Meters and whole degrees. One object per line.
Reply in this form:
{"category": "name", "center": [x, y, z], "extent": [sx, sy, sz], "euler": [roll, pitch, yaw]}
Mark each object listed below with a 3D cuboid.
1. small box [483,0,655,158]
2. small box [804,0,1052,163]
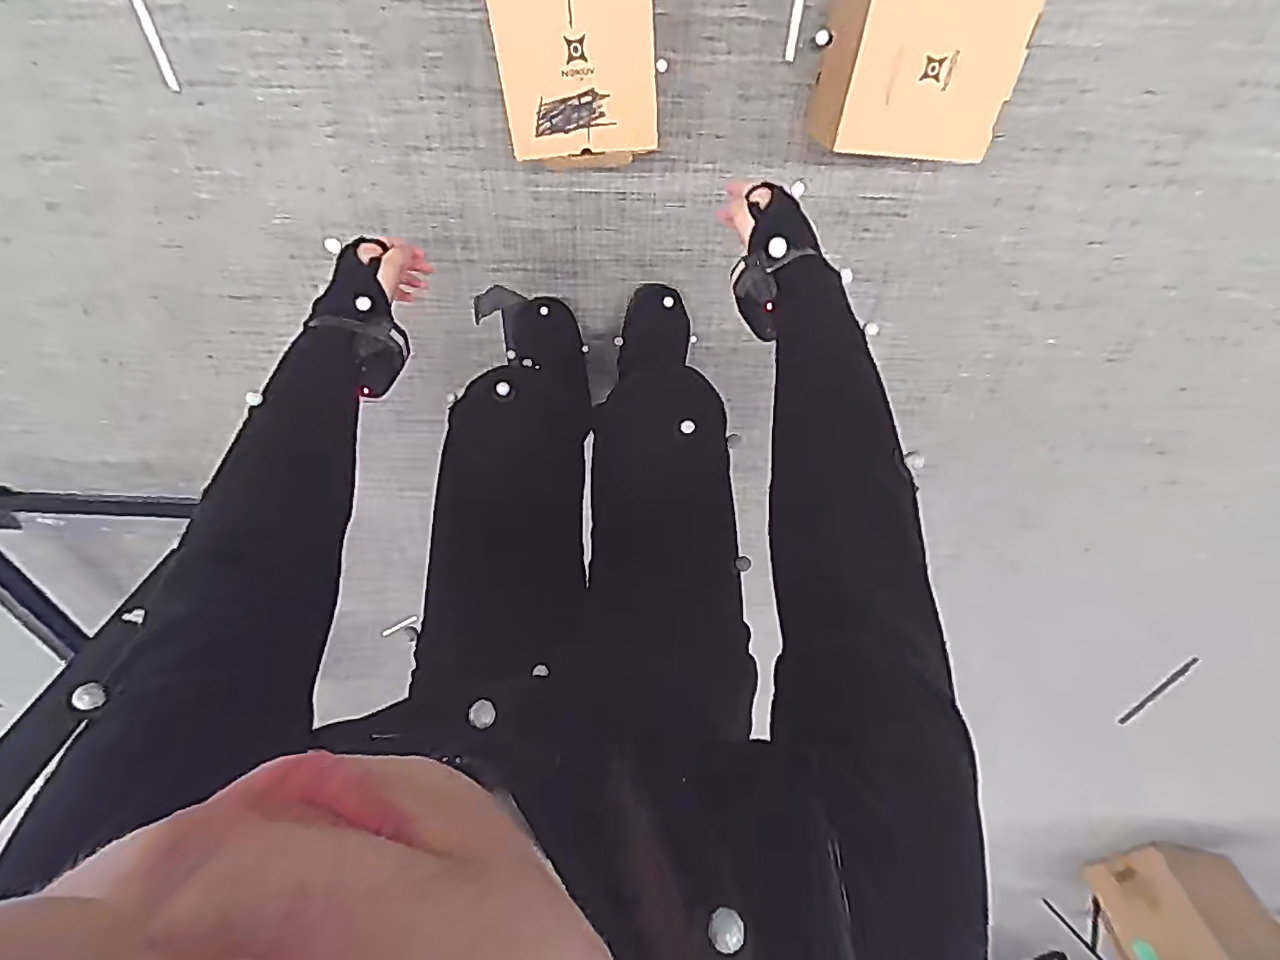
{"category": "small box", "center": [-0.067, -0.483, 0.611], "extent": [0.168, 0.176, 0.179], "euler": [-3, 129, 2]}
{"category": "small box", "center": [0.308, -0.478, 0.617], "extent": [0.179, 0.176, 0.168], "euler": [4, 129, -2]}
